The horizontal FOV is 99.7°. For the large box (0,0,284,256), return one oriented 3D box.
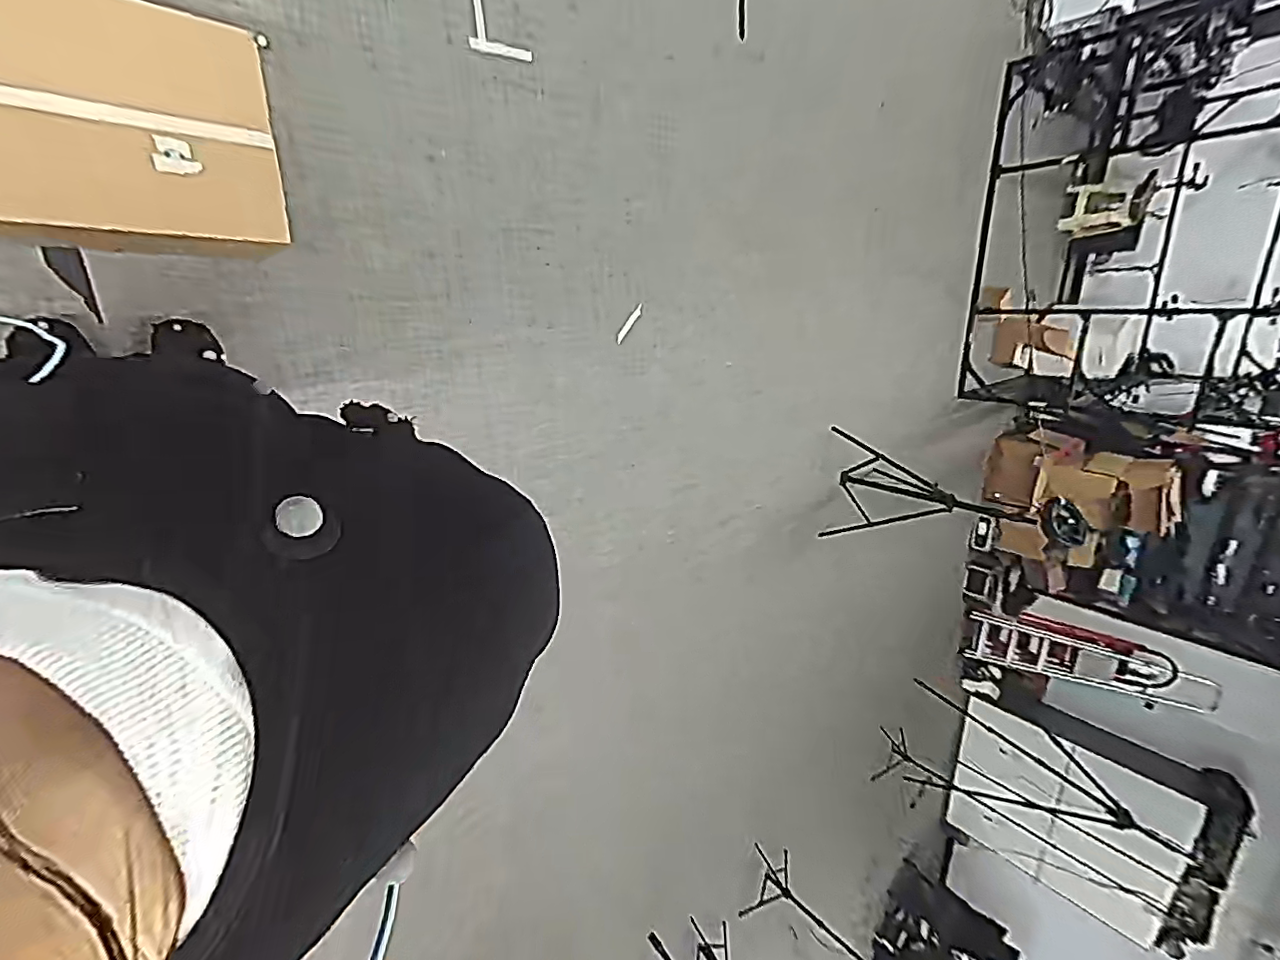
[{"bbox_3d":[-0.869,-0.555,0.879,0.408,0.320,0.320,-15,112,-40],"label":"large box"}]
